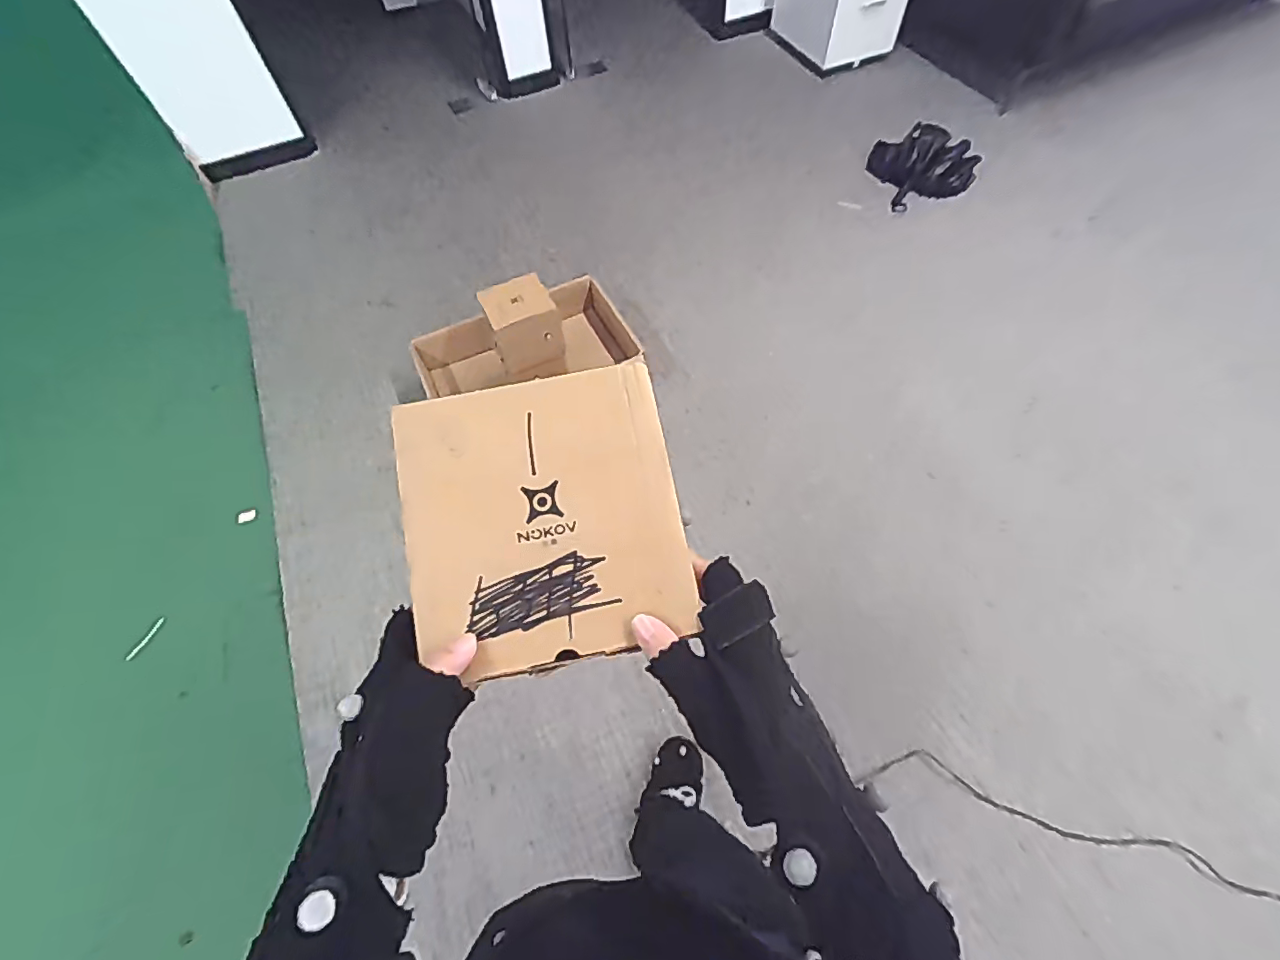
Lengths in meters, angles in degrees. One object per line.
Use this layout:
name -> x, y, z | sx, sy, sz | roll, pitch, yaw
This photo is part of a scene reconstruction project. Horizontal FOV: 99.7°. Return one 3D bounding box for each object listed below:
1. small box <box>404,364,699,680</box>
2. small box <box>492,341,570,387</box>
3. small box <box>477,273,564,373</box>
small box -> -0.058, 0.037, 0.414 | 0.168, 0.176, 0.179 | -11, 78, -3
small box -> -0.327, -0.351, 1.662 | 0.179, 0.176, 0.168 | -26, 61, -12
small box -> -0.322, -0.430, 1.498 | 0.179, 0.176, 0.168 | -28, 62, -13
